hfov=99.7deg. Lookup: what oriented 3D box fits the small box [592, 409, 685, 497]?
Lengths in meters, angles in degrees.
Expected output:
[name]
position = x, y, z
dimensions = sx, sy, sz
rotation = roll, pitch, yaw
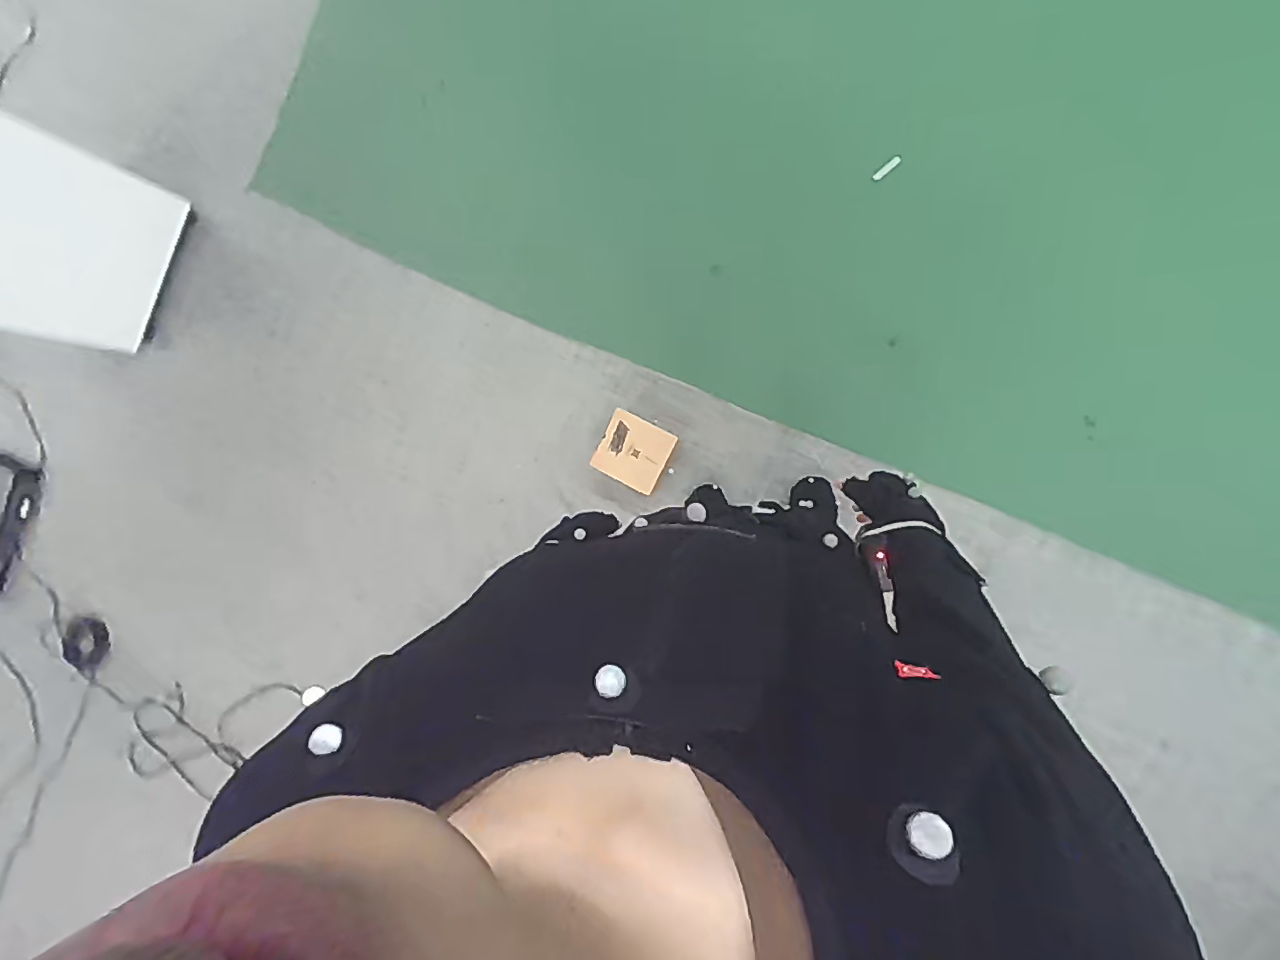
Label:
[small box]
position = 0.004, -0.066, 1.407
dimensions = 0.179, 0.176, 0.168
rotation = 27, 95, 7
